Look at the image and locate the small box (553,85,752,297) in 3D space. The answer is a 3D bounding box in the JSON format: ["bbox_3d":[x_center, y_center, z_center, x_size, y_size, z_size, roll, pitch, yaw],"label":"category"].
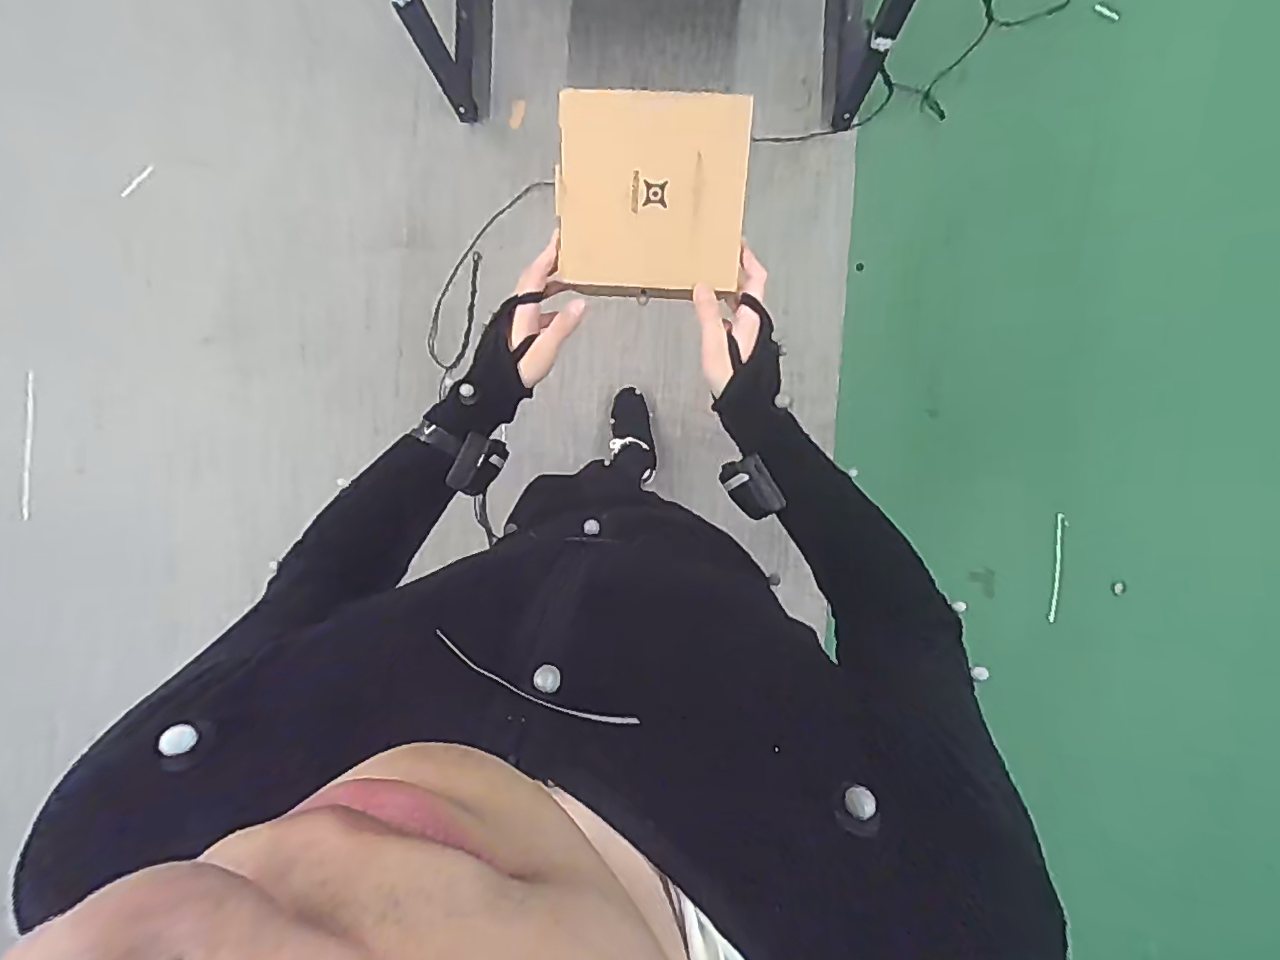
[{"bbox_3d":[0.013,-0.290,0.578,0.179,0.176,0.168,4,106,3],"label":"small box"}]
